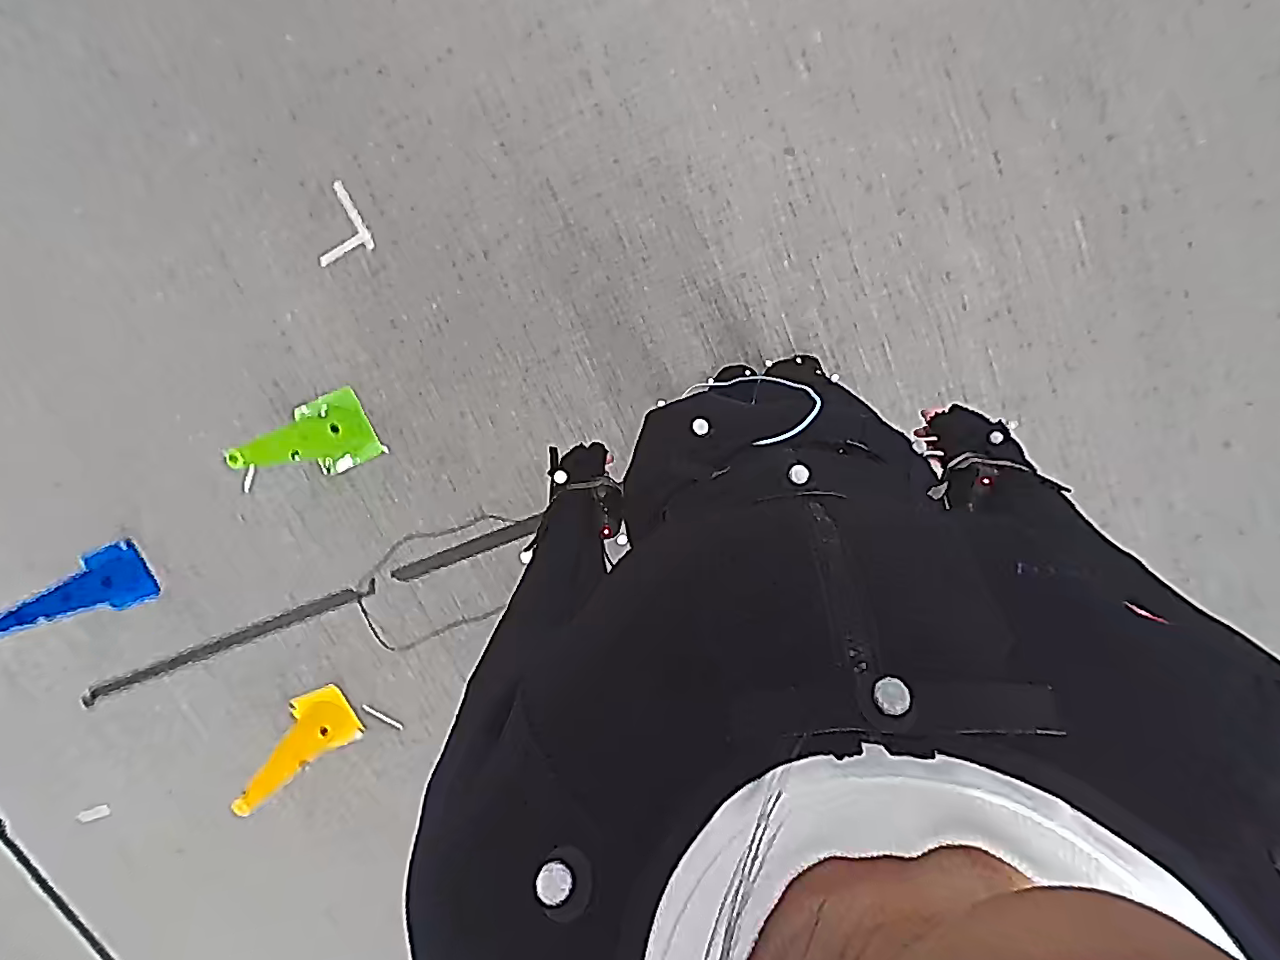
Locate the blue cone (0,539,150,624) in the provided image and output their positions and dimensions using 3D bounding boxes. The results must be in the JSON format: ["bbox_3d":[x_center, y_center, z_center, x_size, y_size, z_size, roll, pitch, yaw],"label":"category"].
[{"bbox_3d":[-1.659,0.328,1.535,0.193,0.380,0.192,-17,101,9],"label":"blue cone"}]

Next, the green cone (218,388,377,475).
[{"bbox_3d":[-0.867,-0.094,1.335,0.200,0.368,0.202,-21,100,10],"label":"green cone"}]
